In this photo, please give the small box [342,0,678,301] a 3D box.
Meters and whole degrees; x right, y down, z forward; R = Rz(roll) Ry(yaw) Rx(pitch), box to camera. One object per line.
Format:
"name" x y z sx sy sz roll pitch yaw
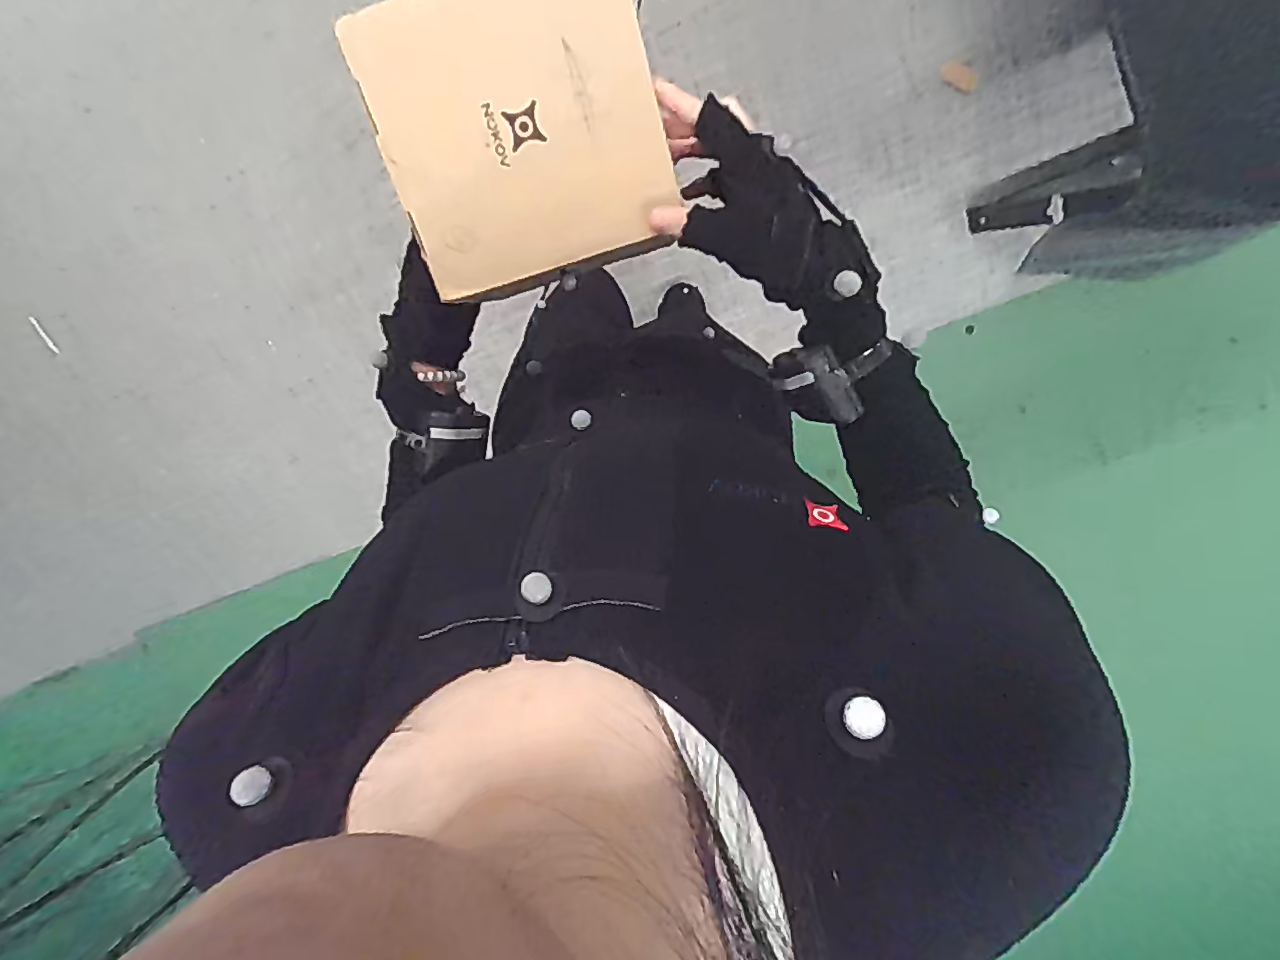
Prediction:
"small box" -0.076 -0.241 0.416 0.179 0.176 0.168 -15 108 6
